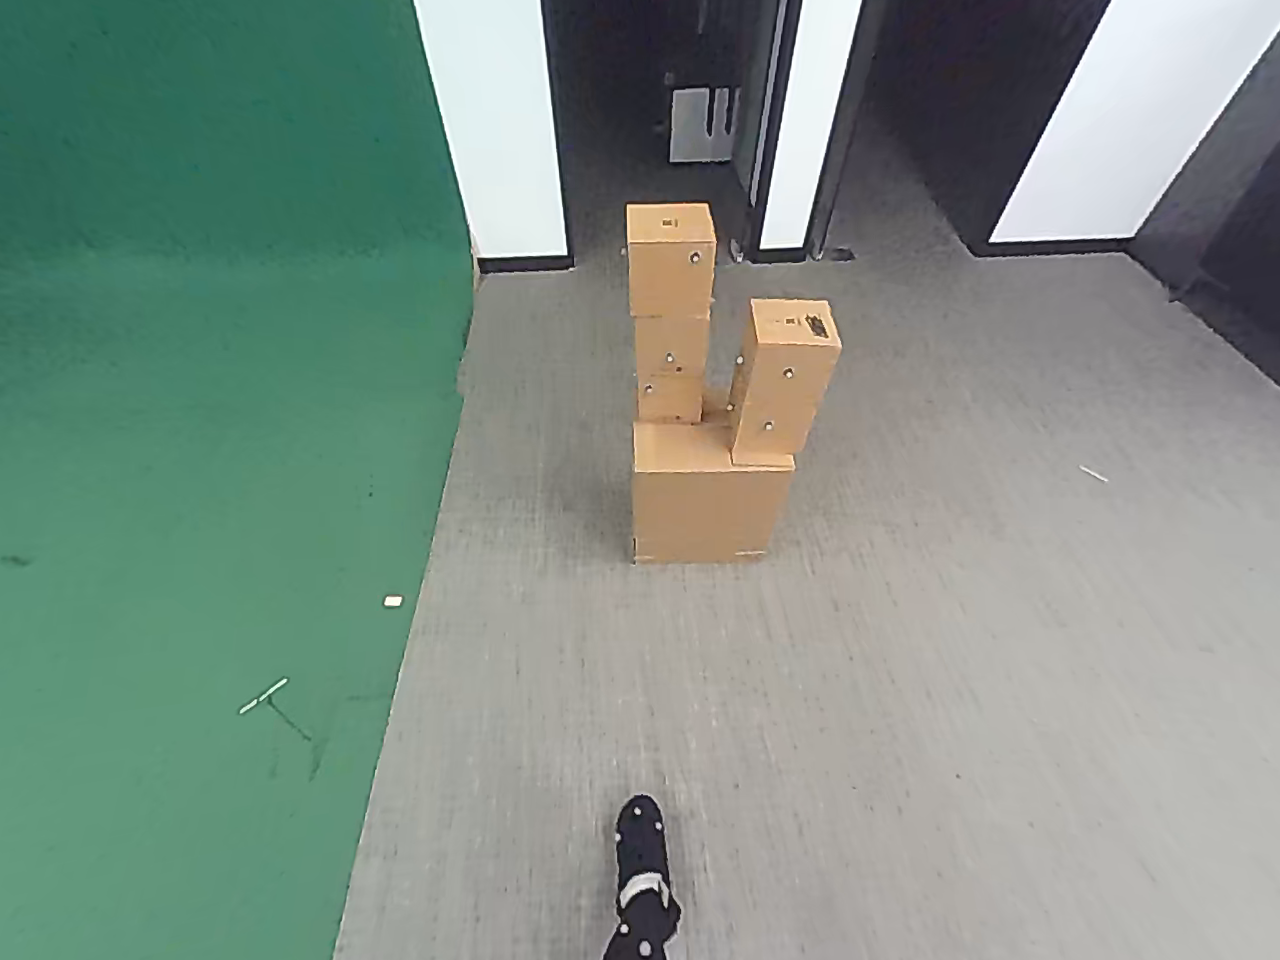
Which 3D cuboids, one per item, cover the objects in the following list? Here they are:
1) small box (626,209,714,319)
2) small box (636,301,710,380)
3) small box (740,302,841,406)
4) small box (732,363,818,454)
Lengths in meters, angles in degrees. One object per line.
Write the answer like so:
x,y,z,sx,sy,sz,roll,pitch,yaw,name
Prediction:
0.061,-0.462,1.168,0.179,0.176,0.168,-2,51,0,small box
0.078,-0.362,1.296,0.168,0.176,0.179,2,51,4,small box
0.330,-0.281,1.224,0.179,0.176,0.168,1,51,1,small box
0.326,-0.177,1.350,0.179,0.176,0.168,0,53,1,small box
